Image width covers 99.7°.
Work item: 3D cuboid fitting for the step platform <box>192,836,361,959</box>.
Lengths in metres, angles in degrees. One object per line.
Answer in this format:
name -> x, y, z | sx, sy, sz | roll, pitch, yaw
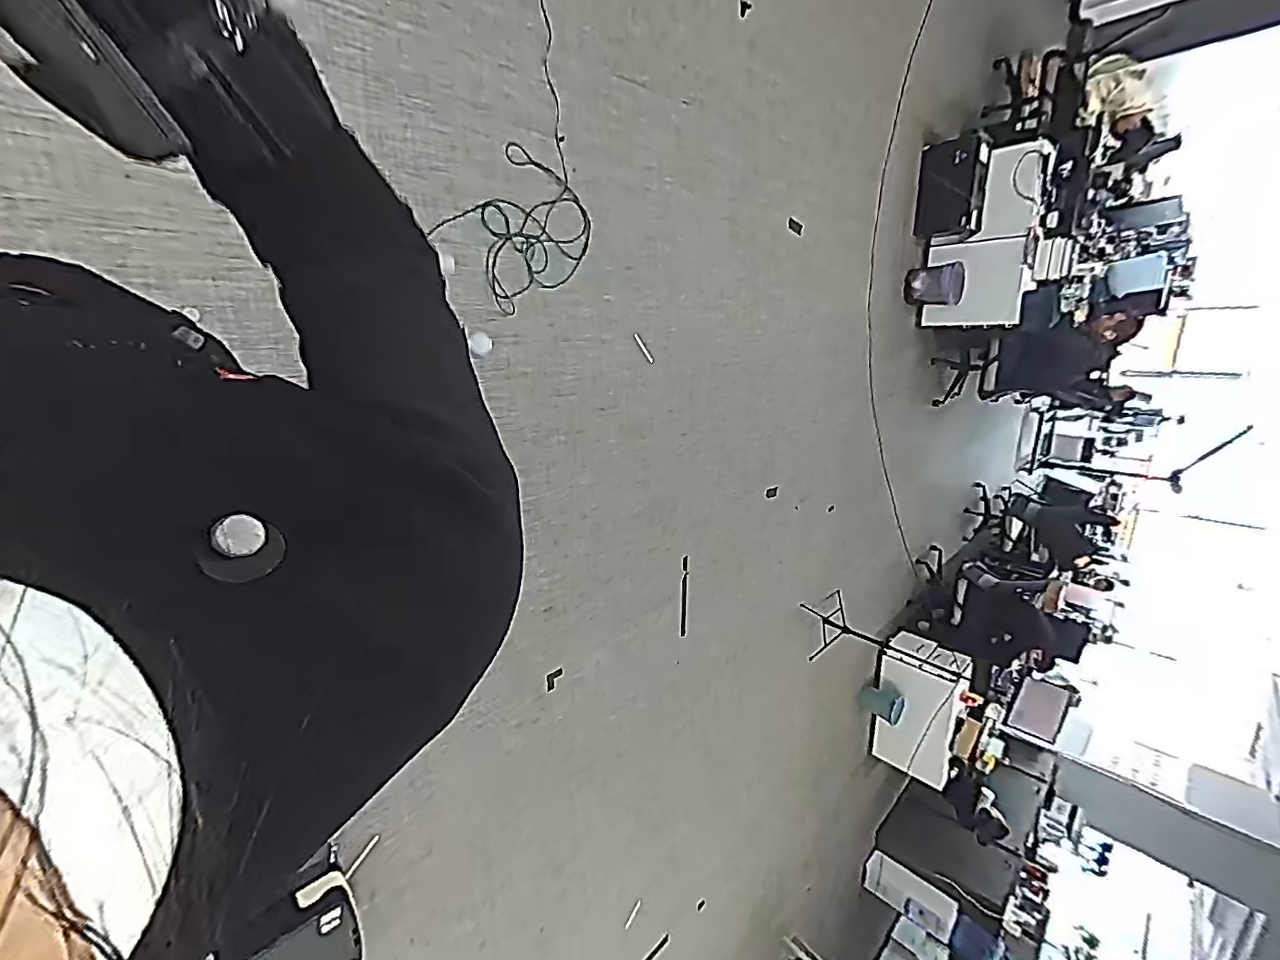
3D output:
step platform -> -1.038, 1.198, 1.271 | 0.684, 0.204, 0.286 | -17, 112, -41
